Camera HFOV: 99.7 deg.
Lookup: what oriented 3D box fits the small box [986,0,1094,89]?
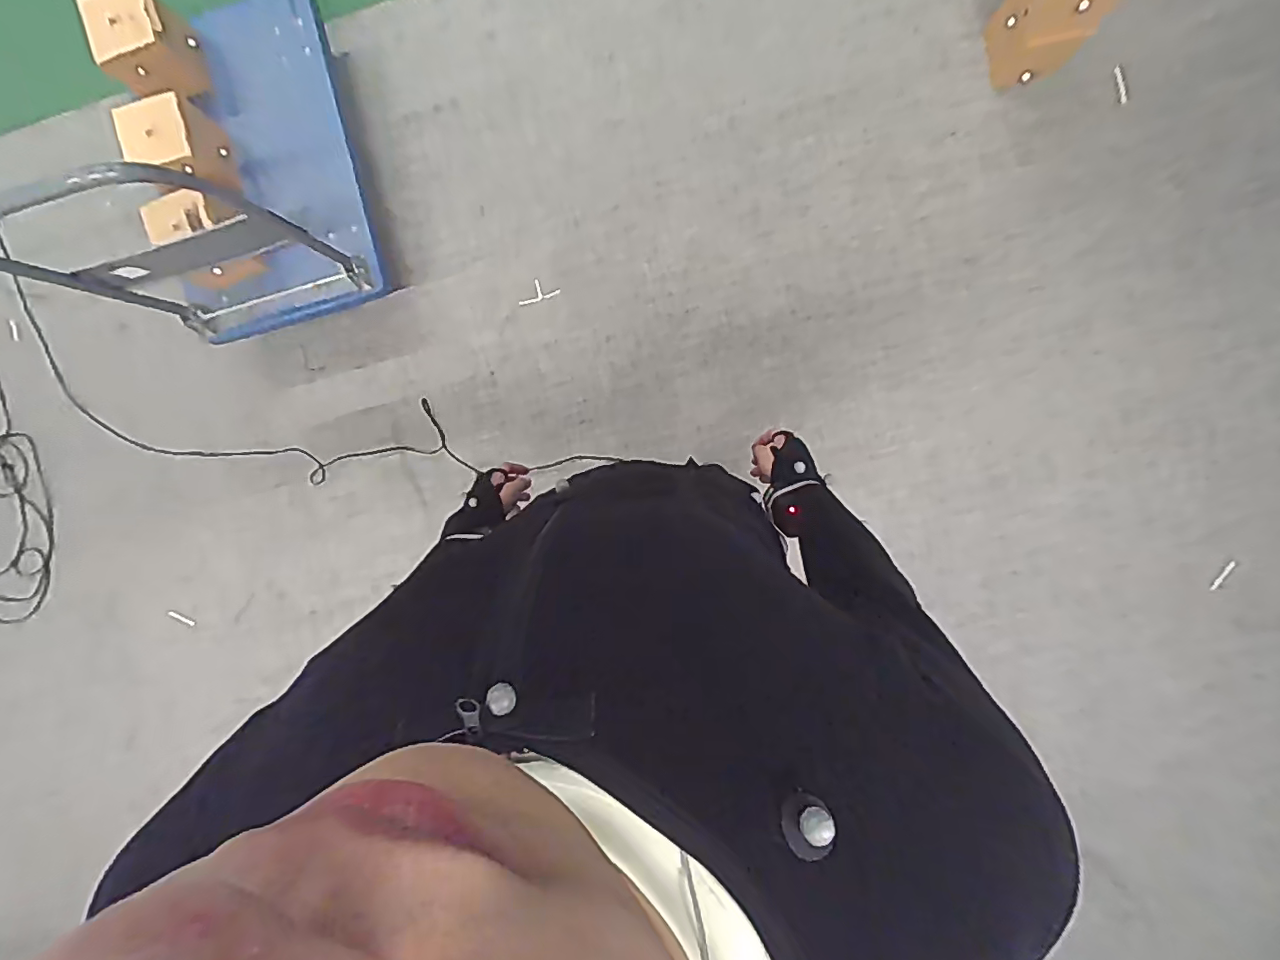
[{"bbox_3d":[1.062,-1.204,1.451,0.168,0.176,0.179,-9,92,5],"label":"small box"}]

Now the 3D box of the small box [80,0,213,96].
[{"bbox_3d":[-1.285,-1.143,1.419,0.179,0.176,0.168,-15,93,4],"label":"small box"}]

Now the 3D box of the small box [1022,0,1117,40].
[{"bbox_3d":[1.046,-1.203,1.288,0.179,0.176,0.168,-10,91,6],"label":"small box"}]

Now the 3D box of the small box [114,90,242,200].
[{"bbox_3d":[-1.212,-0.873,1.429,0.179,0.176,0.168,-14,91,3],"label":"small box"}]
